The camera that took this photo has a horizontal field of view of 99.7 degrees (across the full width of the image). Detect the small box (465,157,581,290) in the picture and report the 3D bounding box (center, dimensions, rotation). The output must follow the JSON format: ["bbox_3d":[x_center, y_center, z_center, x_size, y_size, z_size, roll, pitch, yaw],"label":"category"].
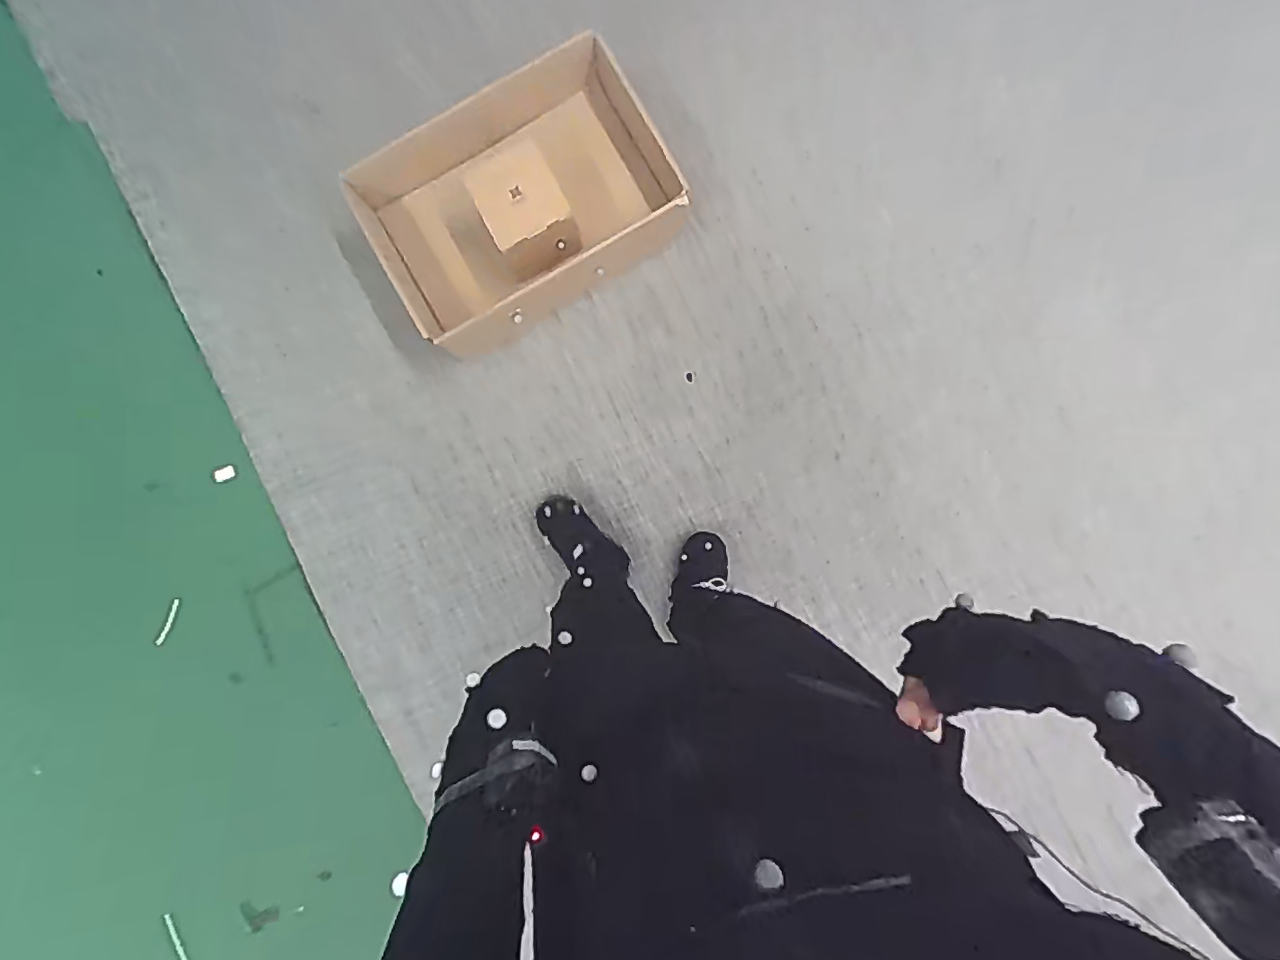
[{"bbox_3d":[-0.241,-0.534,1.160,0.168,0.176,0.179,-28,87,-1],"label":"small box"}]
